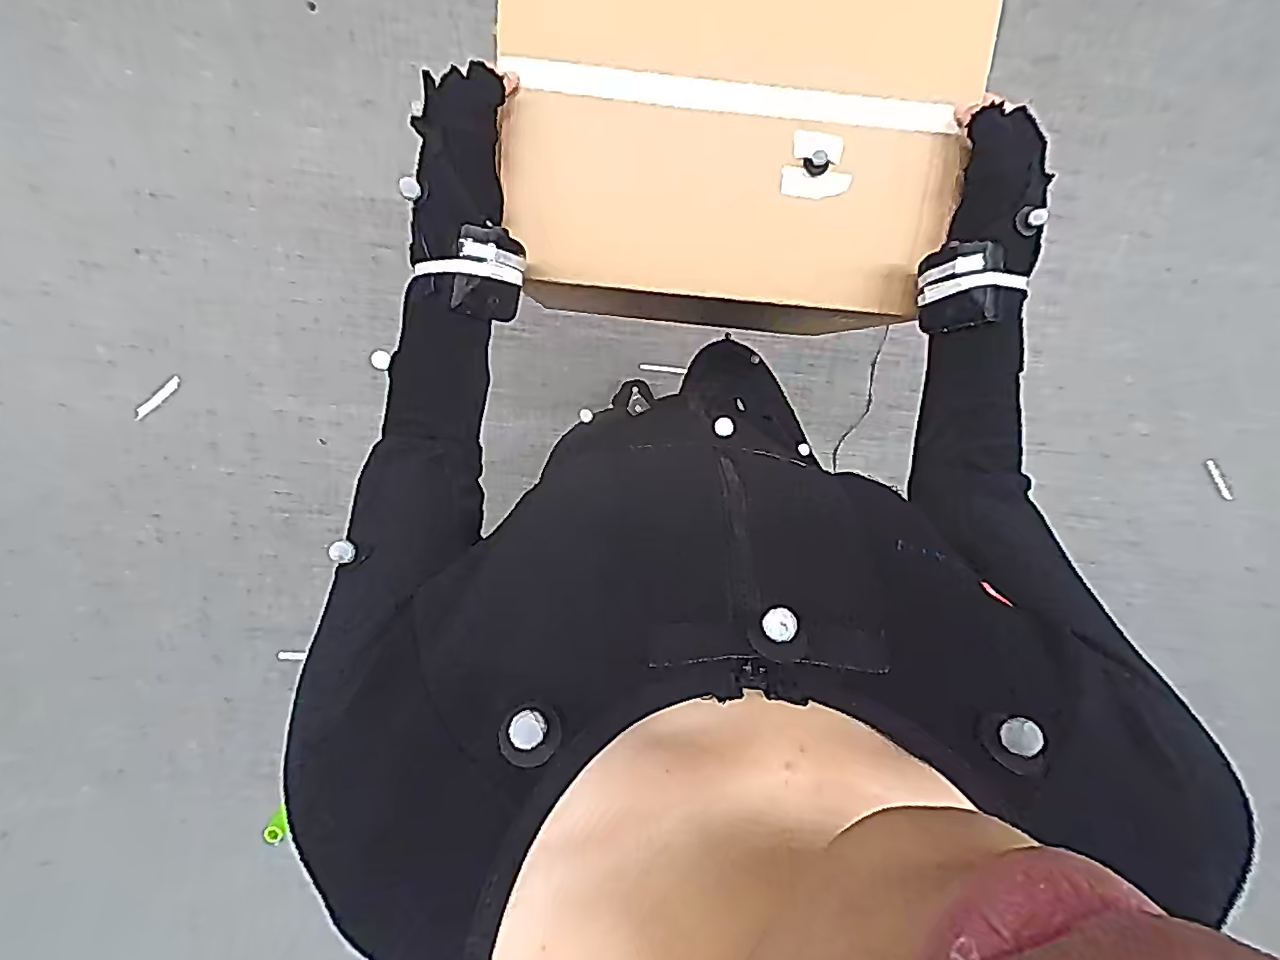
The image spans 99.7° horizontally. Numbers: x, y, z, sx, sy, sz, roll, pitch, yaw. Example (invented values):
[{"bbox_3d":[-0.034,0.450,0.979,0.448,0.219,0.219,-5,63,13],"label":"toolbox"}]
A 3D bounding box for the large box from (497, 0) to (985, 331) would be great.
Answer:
[{"bbox_3d":[0.073,-0.347,0.600,0.408,0.320,0.320,4,102,-4],"label":"large box"}]
